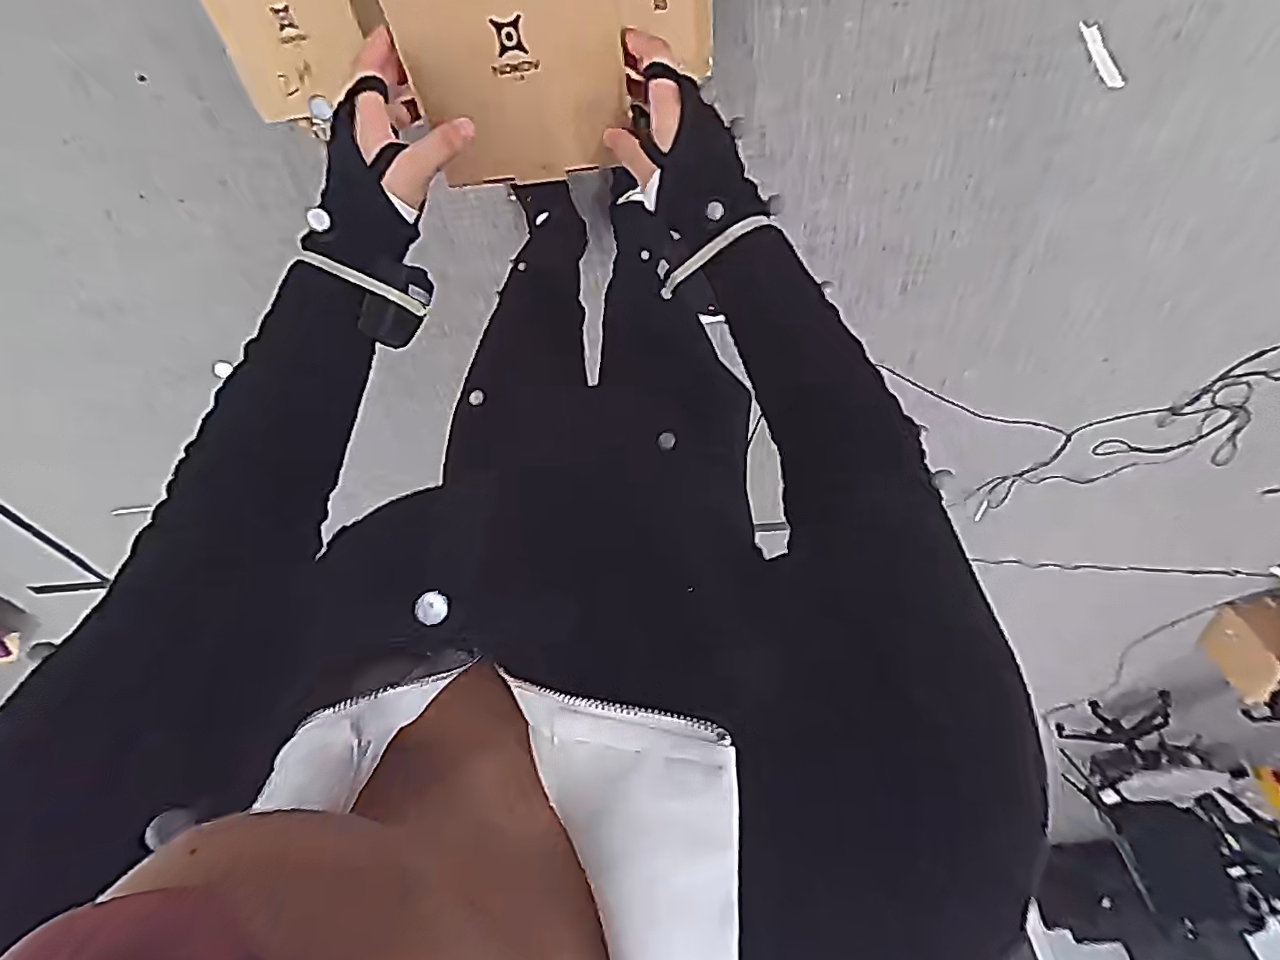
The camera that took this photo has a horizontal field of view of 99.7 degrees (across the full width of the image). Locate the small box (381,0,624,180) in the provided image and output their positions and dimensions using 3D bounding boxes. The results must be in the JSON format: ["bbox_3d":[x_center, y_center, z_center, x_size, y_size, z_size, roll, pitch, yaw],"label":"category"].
[{"bbox_3d":[-0.103,-0.388,0.461,0.168,0.176,0.179,-5,140,3],"label":"small box"}]

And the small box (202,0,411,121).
[{"bbox_3d":[-0.410,-0.581,0.680,0.168,0.176,0.179,-6,135,3],"label":"small box"}]
